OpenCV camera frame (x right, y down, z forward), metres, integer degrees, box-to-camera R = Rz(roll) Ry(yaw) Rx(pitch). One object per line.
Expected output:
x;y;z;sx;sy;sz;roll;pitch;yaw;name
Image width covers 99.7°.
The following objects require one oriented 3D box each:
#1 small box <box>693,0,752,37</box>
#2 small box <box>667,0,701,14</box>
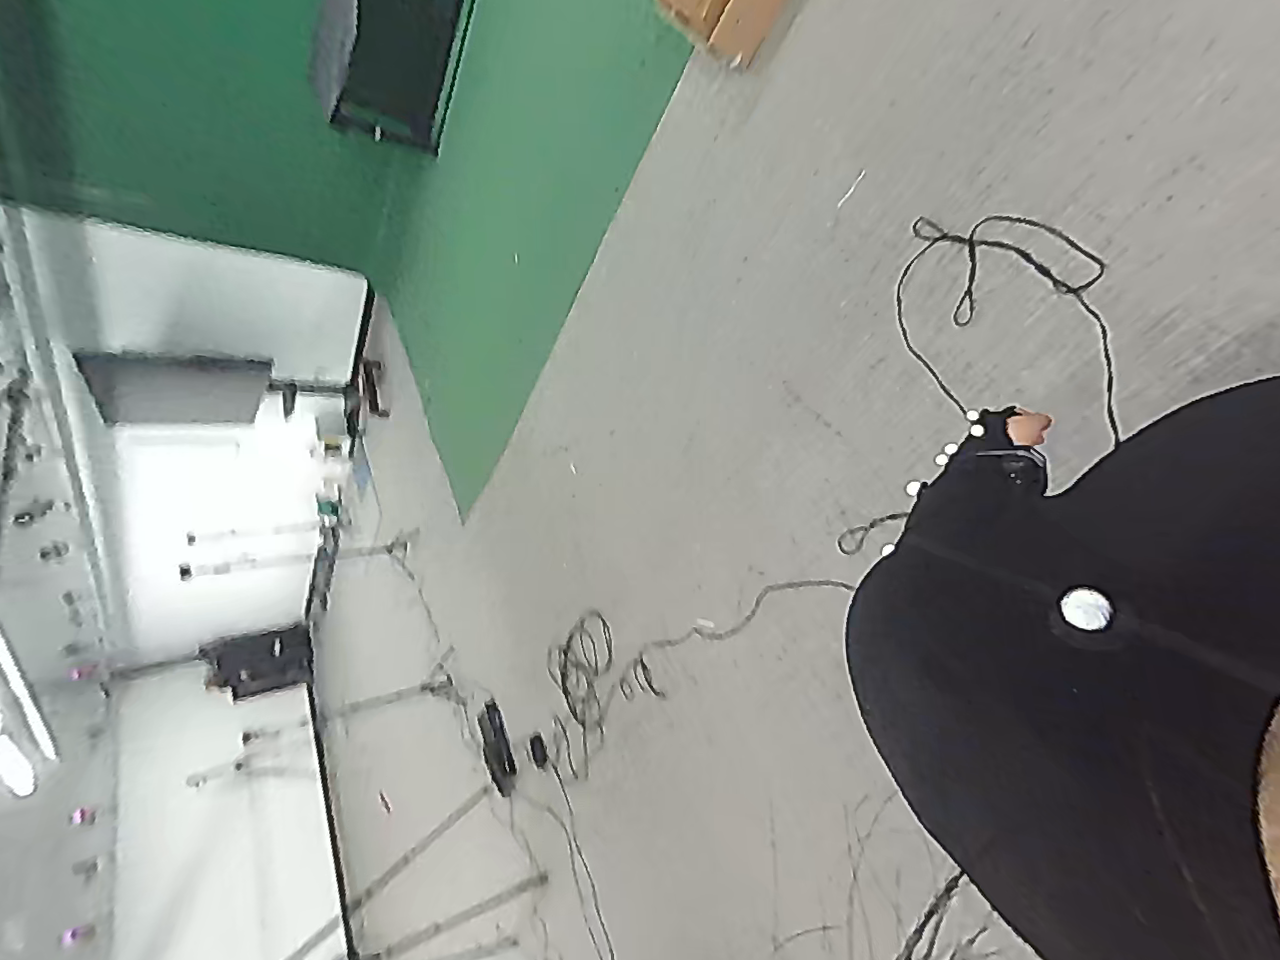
0.252;-1.609;1.777;0.179;0.176;0.168;57;132;28;small box
0.118;-1.605;1.682;0.168;0.176;0.179;-50;57;39;small box
